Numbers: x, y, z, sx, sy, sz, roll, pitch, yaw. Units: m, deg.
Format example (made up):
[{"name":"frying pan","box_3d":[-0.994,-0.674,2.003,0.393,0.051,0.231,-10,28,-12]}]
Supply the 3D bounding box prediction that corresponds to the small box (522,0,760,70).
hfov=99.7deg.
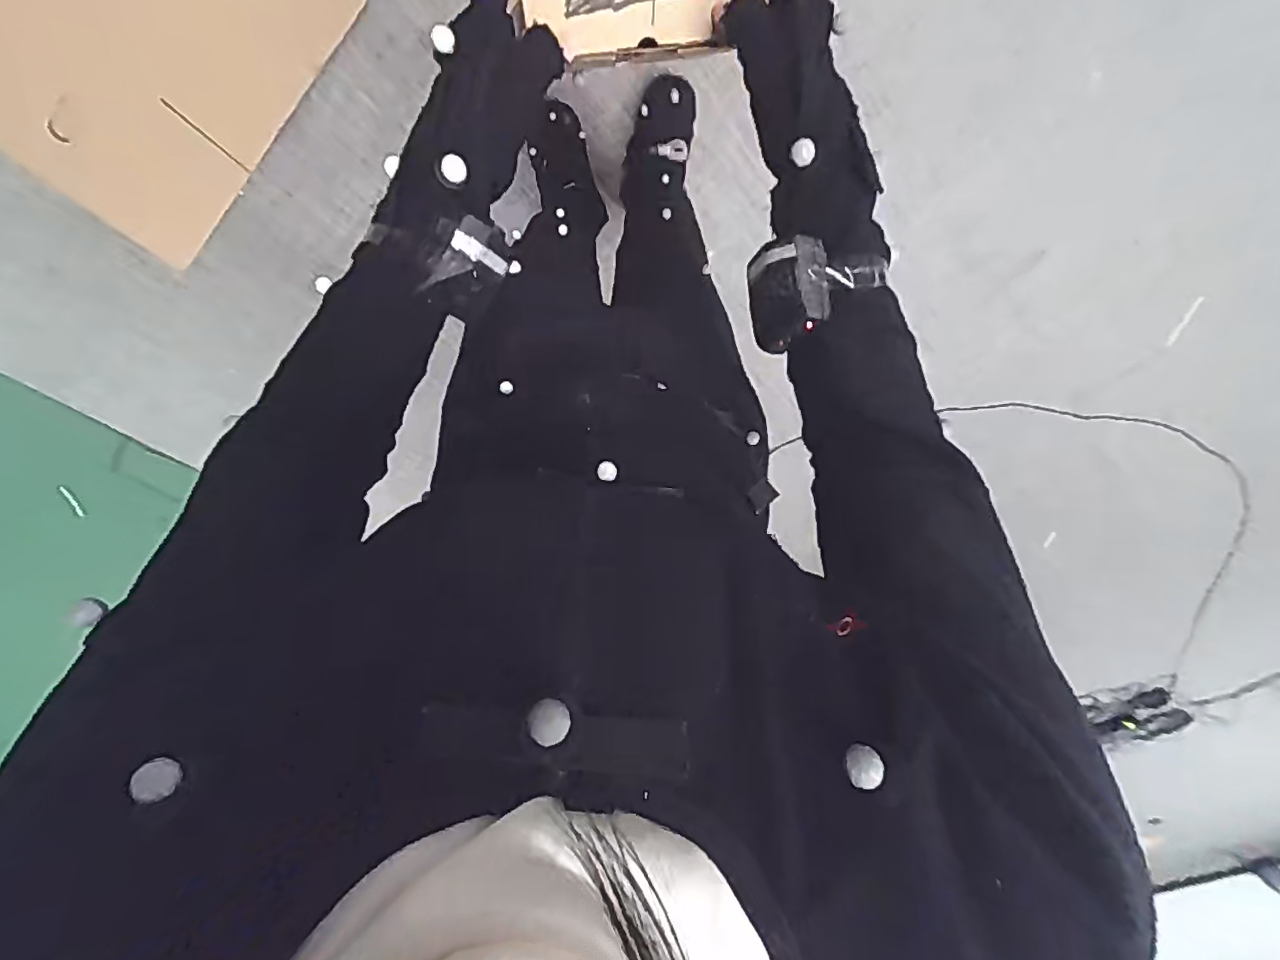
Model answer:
[{"name":"small box","box_3d":[-0.008,-0.420,0.400,0.168,0.176,0.179,-7,124,-1]}]
